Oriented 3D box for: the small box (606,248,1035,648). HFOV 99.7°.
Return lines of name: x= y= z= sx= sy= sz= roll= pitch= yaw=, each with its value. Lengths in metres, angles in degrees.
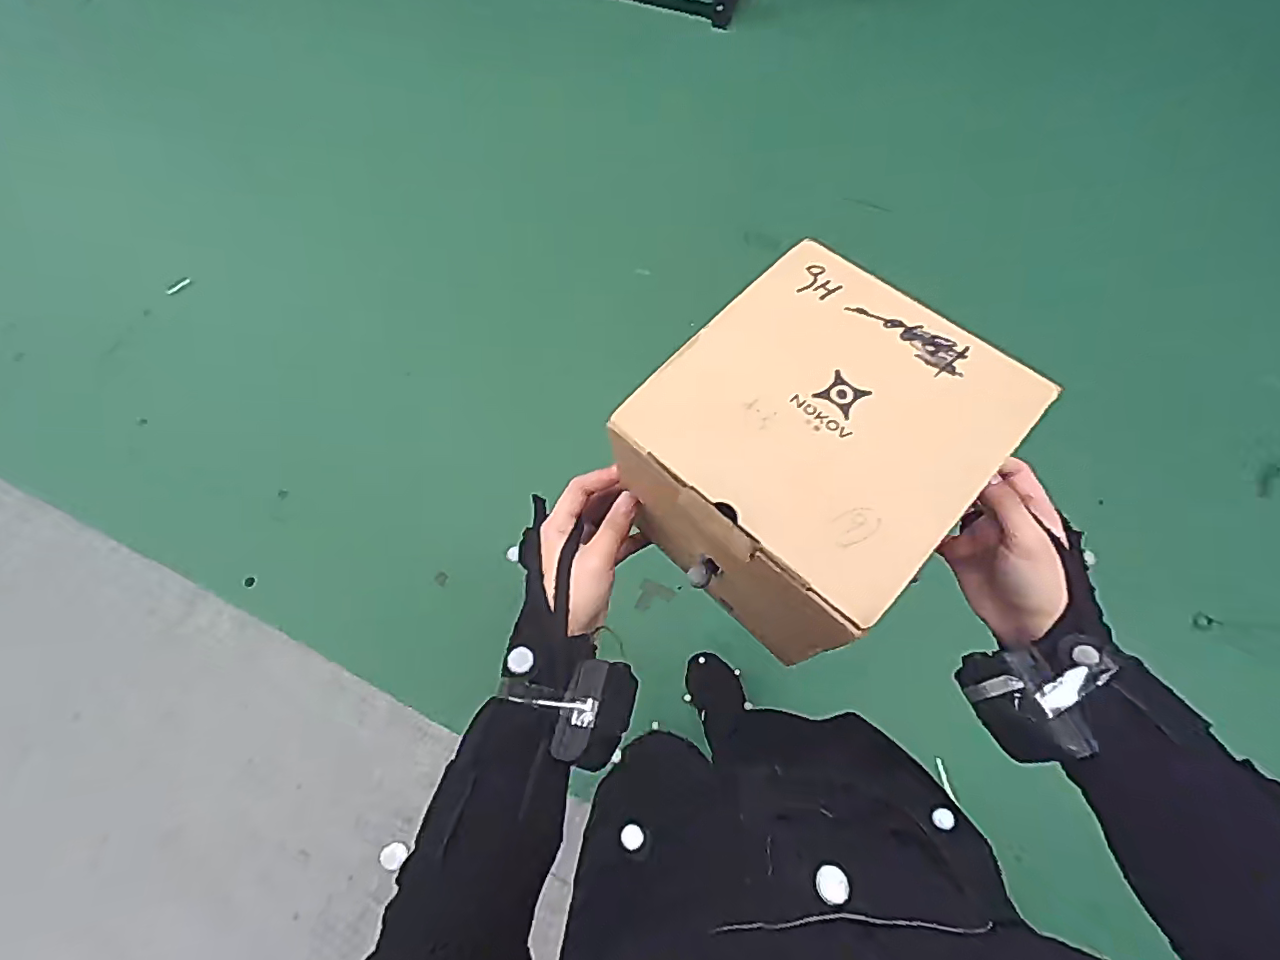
small box: x=0.103 y=-0.008 z=0.368 sx=0.168 sy=0.176 sz=0.179 roll=41 pitch=75 yaw=18
